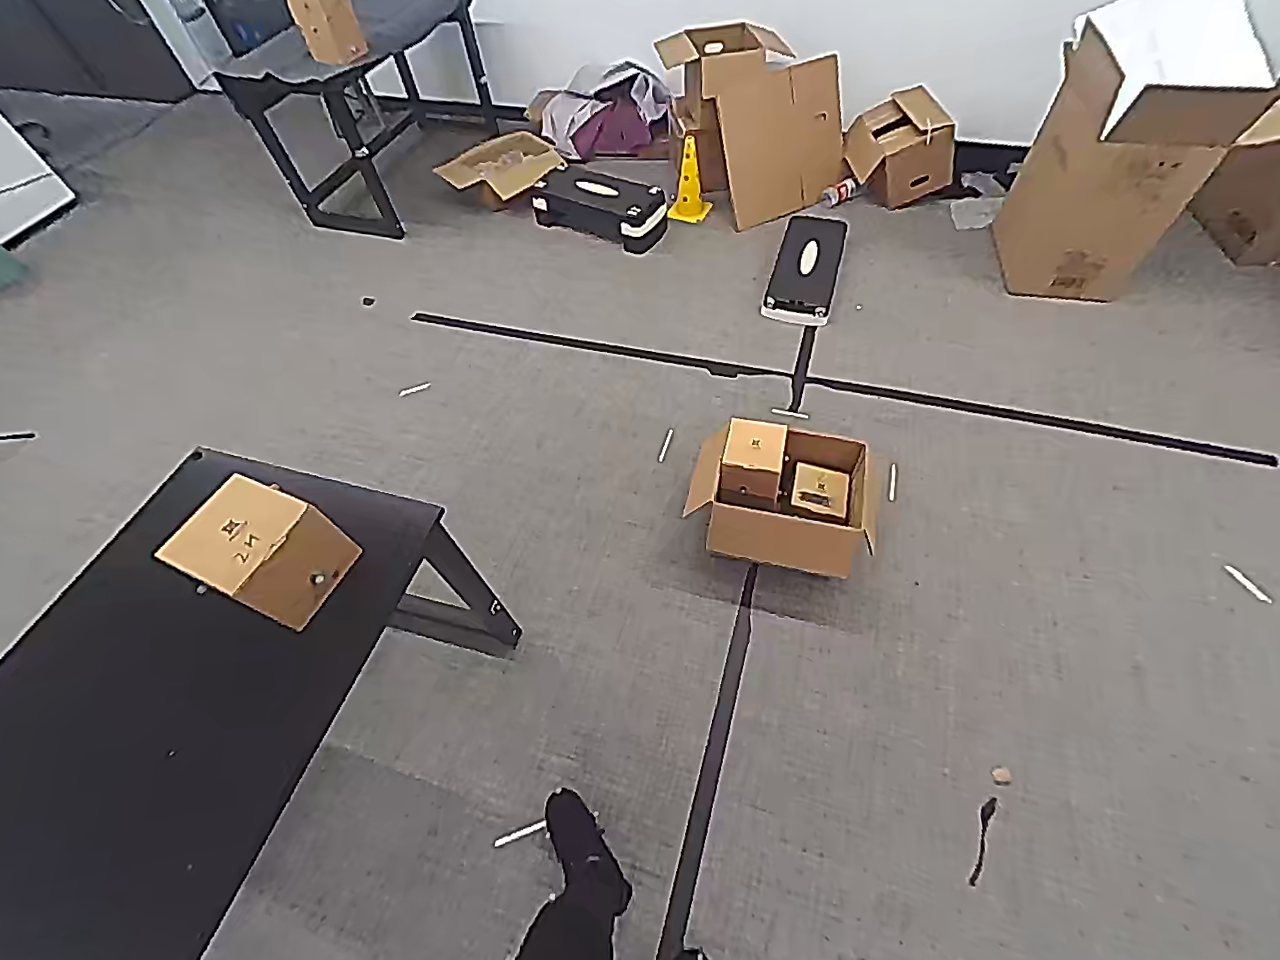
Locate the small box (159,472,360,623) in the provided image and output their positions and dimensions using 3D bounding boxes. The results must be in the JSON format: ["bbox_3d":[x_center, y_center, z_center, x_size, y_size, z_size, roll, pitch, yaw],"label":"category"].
[{"bbox_3d":[-0.620,0.118,0.905,0.179,0.176,0.168,19,61,16],"label":"small box"}]
